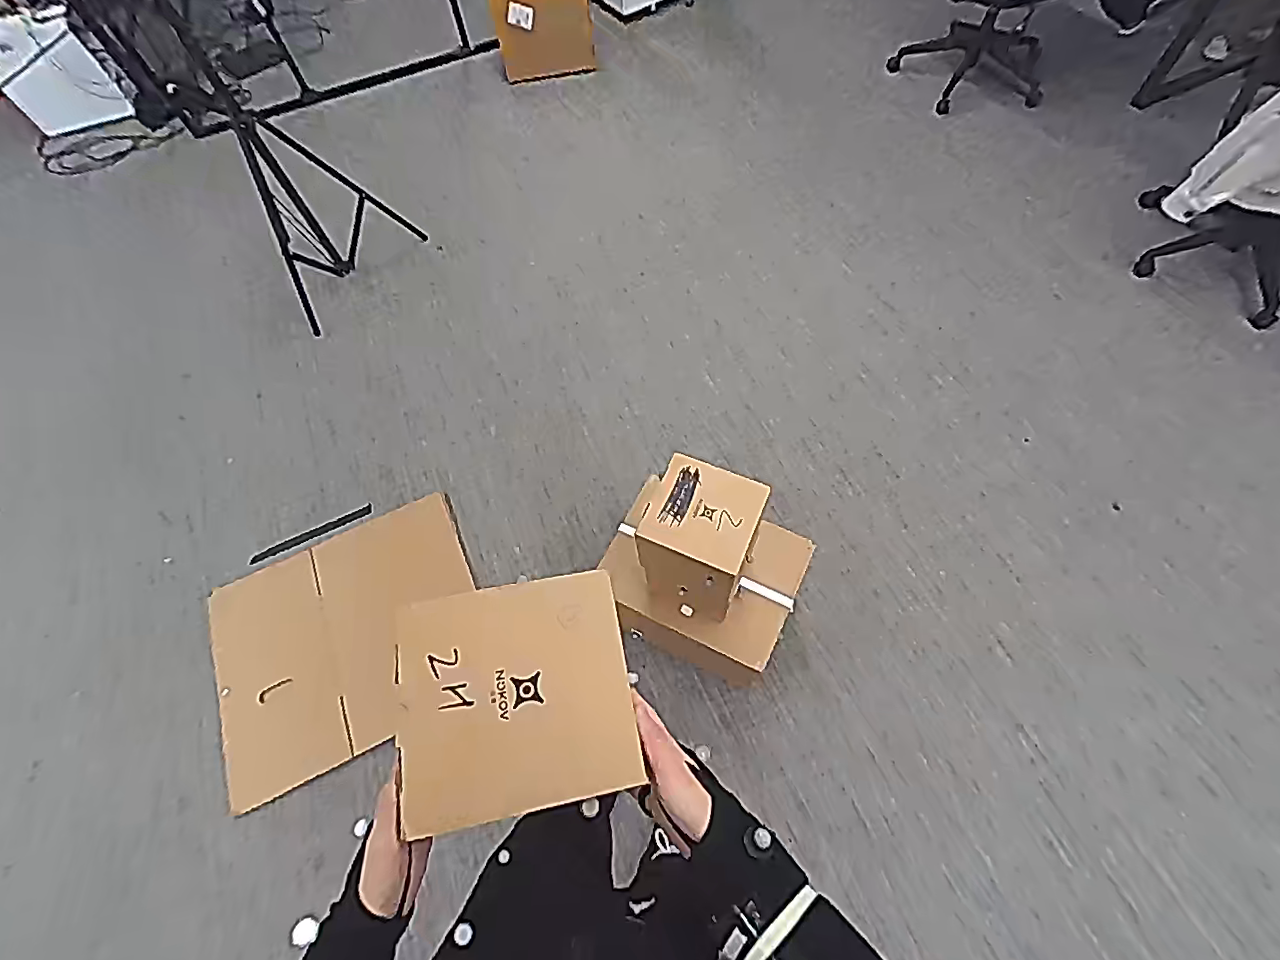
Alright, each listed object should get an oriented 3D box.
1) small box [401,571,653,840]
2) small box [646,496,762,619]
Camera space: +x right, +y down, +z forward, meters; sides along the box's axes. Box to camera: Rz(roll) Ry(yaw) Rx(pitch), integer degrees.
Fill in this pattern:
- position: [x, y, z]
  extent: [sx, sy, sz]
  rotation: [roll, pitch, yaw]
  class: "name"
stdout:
- position: [-0.098, 0.192, 0.484]
  extent: [0.179, 0.176, 0.168]
  rotation: [-9, 68, -10]
  class: "small box"
- position: [0.125, 0.161, 1.088]
  extent: [0.179, 0.176, 0.168]
  rotation: [21, 67, 13]
  class: "small box"
